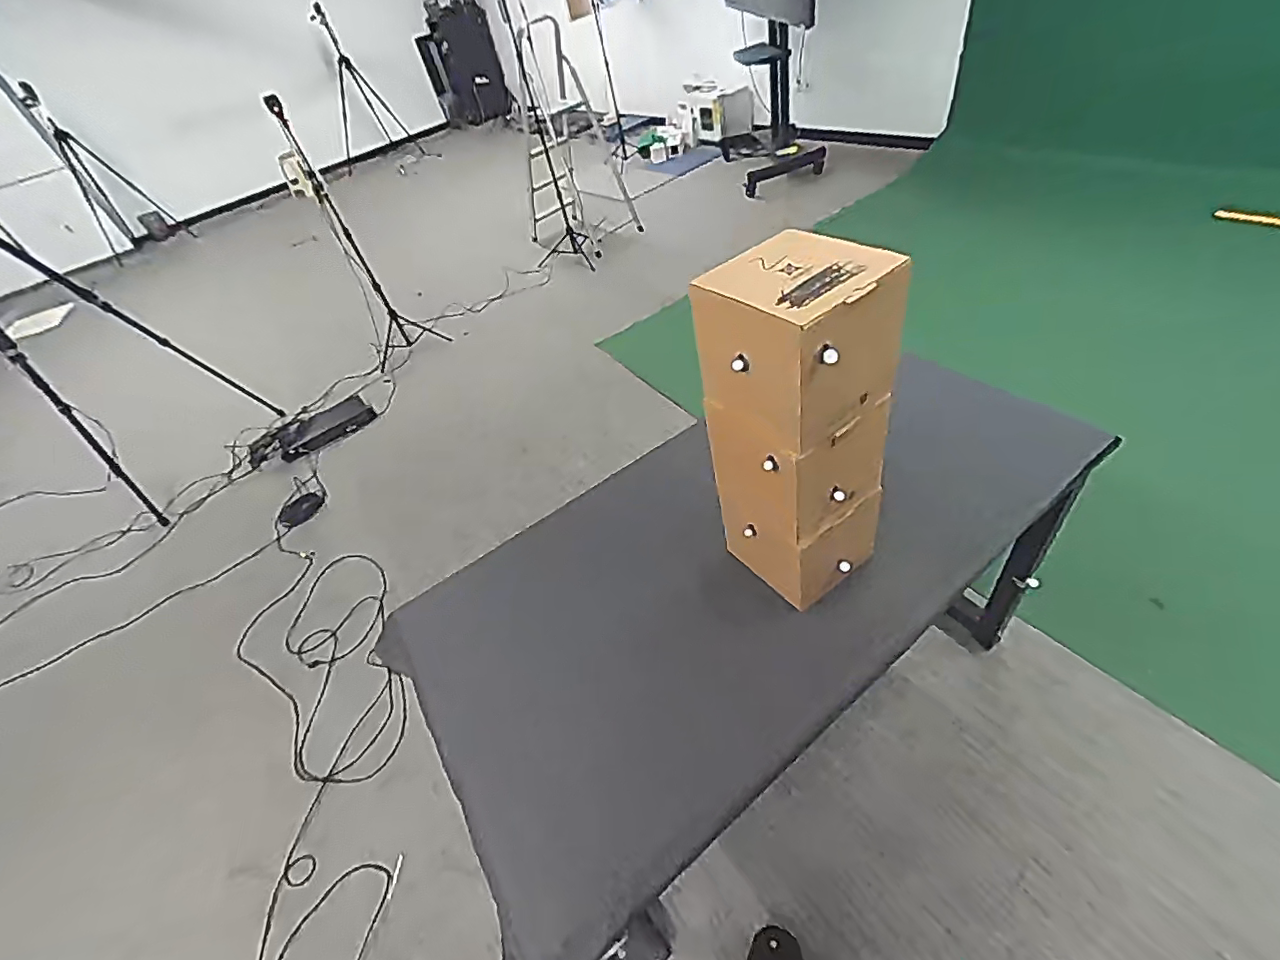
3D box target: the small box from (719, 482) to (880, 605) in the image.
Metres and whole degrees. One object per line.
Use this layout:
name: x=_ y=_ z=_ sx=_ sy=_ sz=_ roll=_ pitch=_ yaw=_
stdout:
small box: x=0.248 y=0.064 z=0.863 sx=0.168 sy=0.176 sz=0.179 roll=-33 pitch=47 yaw=-17

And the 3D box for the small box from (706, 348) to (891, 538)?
small box: x=0.214 y=-0.052 z=0.755 sx=0.168 sy=0.176 sz=0.179 roll=-33 pitch=47 yaw=-17
